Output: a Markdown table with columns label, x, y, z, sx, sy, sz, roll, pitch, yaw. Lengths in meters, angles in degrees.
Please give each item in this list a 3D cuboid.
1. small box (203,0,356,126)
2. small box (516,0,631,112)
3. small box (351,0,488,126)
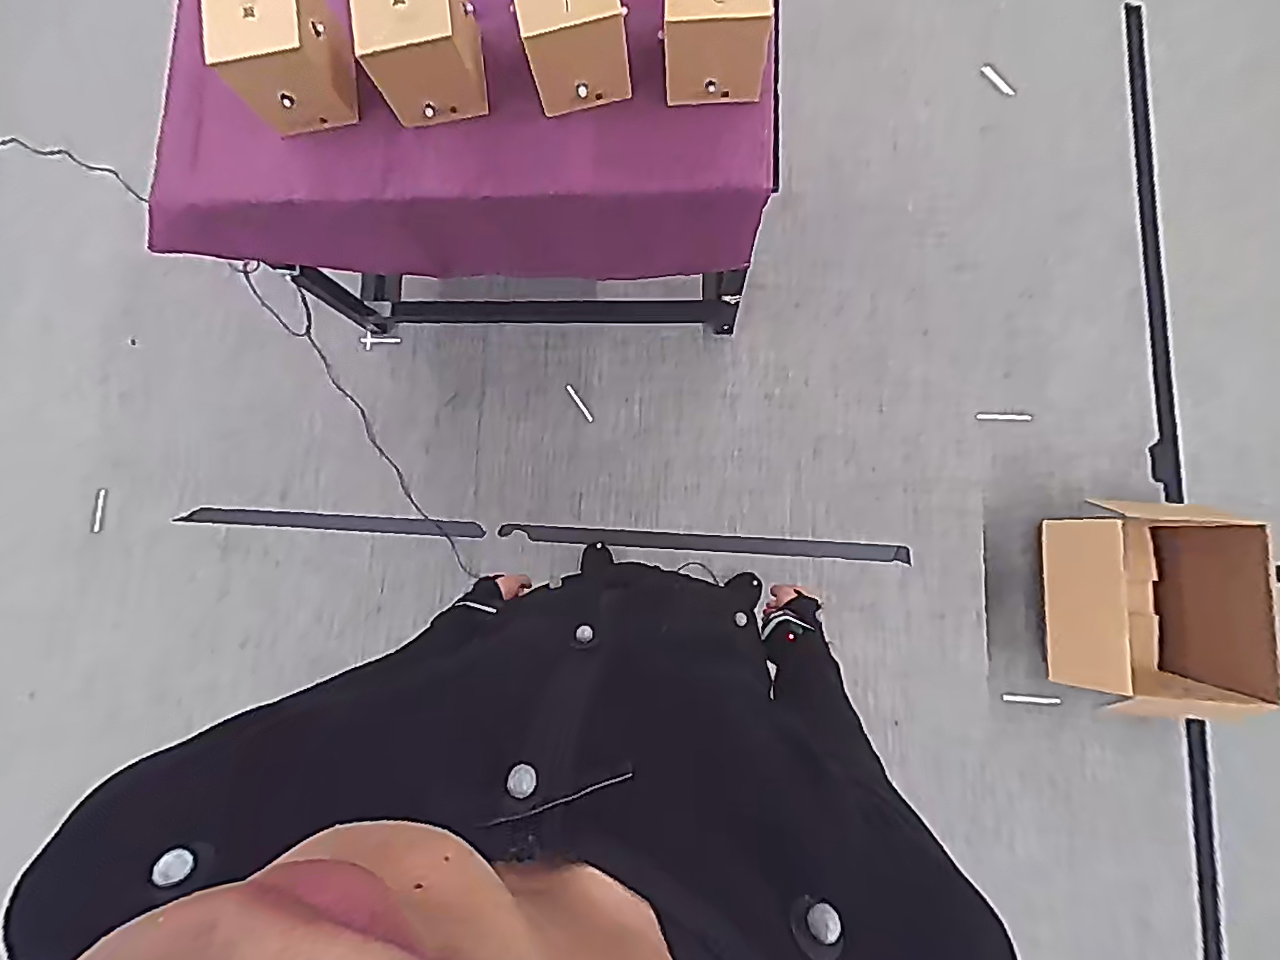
| label | x | y | z | sx | sy | sz | roll | pitch | yaw |
| --- | --- | --- | --- | --- | --- | --- | --- | --- | --- |
| small box | -0.634 | -0.769 | 0.967 | 0.168 | 0.176 | 0.179 | -7 | 83 | 3 |
| small box | -0.115 | -0.786 | 0.929 | 0.168 | 0.176 | 0.179 | -11 | 84 | 3 |
| small box | -0.381 | -0.773 | 0.950 | 0.168 | 0.176 | 0.179 | -8 | 83 | 4 |
